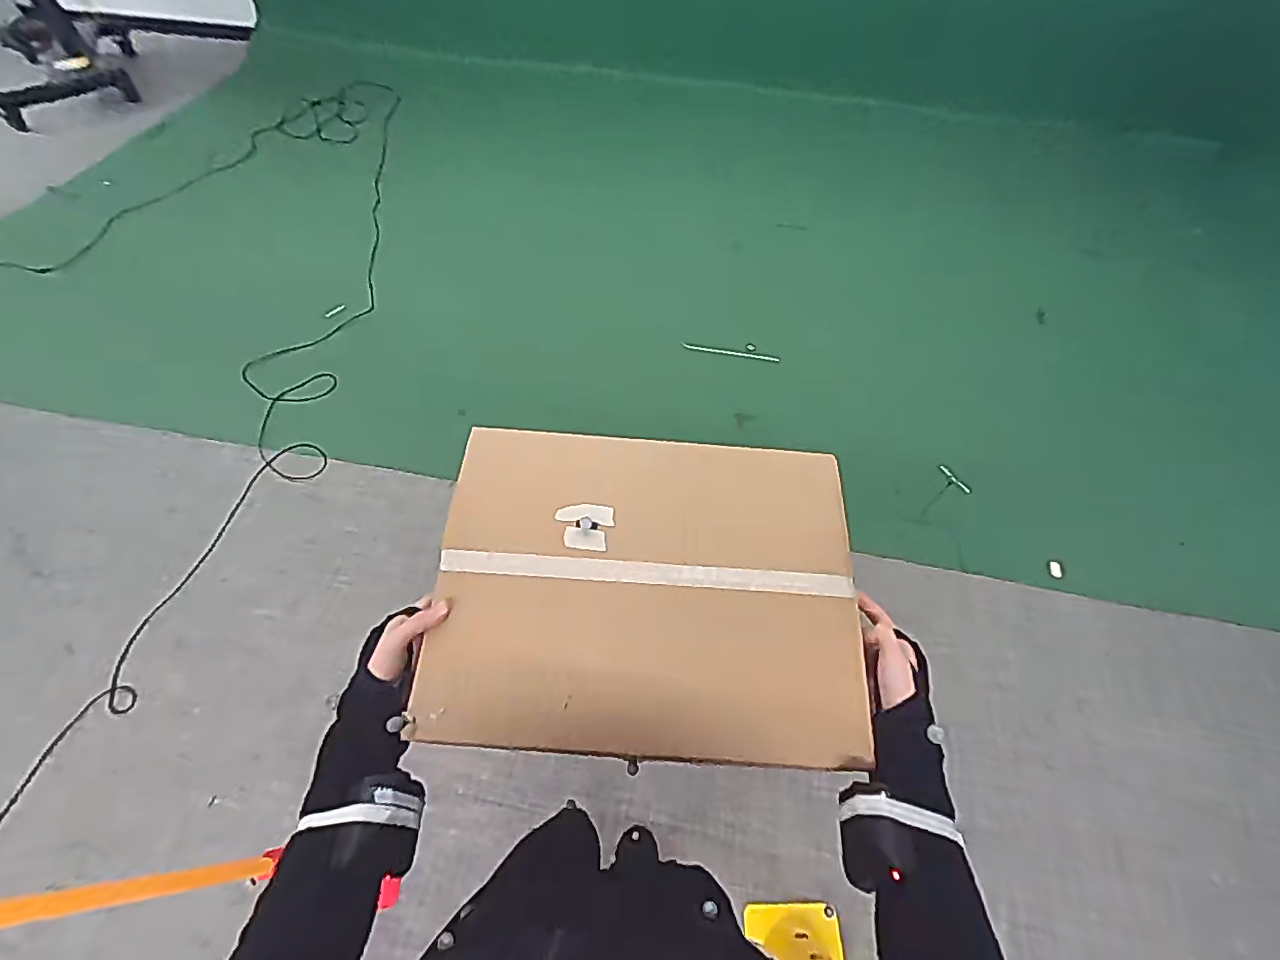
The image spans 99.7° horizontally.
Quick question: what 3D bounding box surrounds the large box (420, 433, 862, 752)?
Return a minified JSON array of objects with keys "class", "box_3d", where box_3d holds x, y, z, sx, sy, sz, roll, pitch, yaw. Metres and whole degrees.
[{"class":"large box","box_3d":[0.006,0.159,0.680,0.408,0.320,0.320,4,62,0]}]
